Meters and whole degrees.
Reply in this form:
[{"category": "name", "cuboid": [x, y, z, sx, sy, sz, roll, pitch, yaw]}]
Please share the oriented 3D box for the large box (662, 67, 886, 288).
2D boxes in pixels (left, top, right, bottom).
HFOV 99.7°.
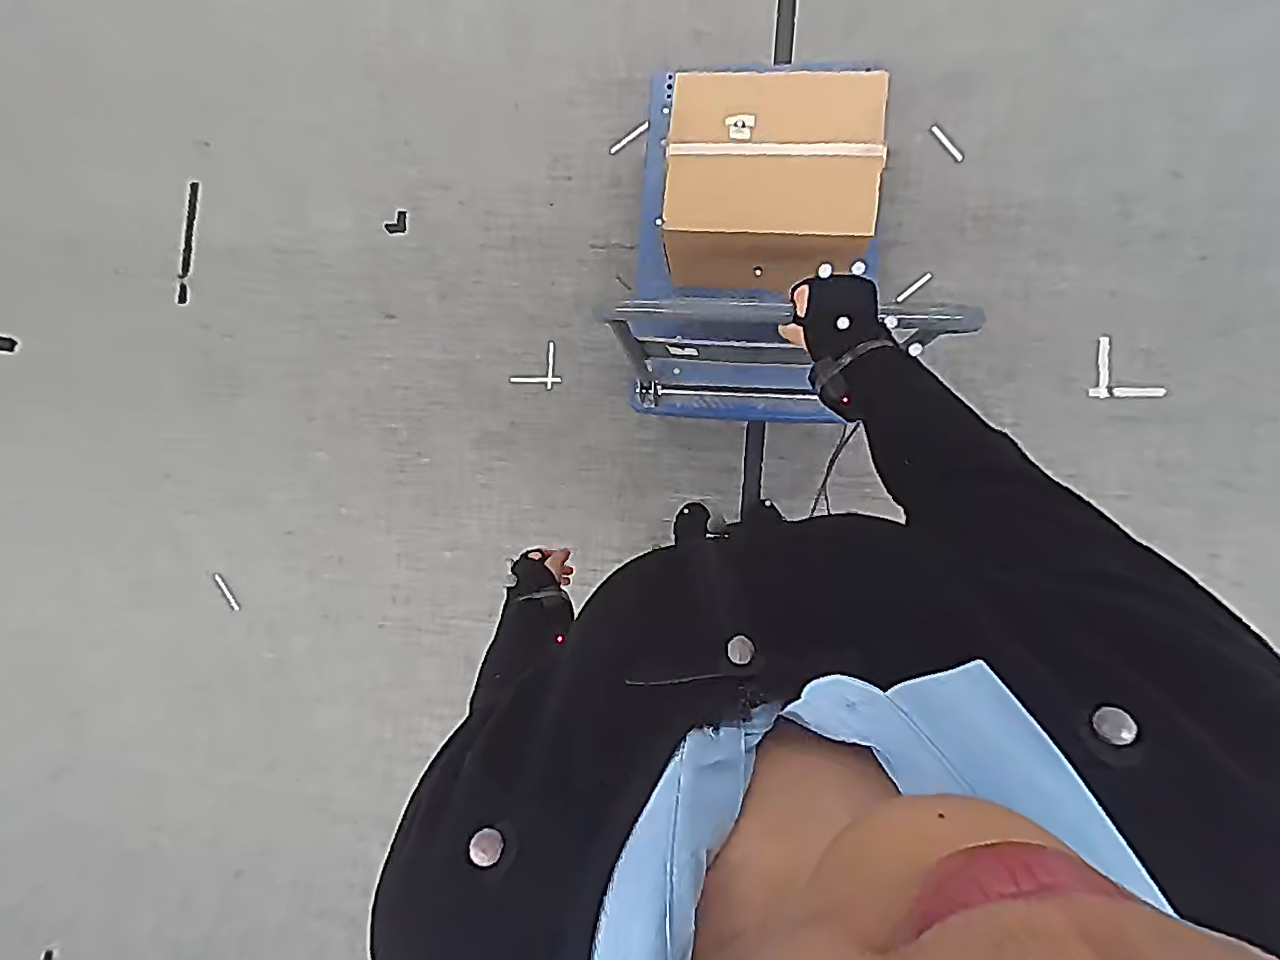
[{"category": "large box", "cuboid": [0.274, -0.621, 1.171, 0.408, 0.320, 0.320, 5, 89, 9]}]
